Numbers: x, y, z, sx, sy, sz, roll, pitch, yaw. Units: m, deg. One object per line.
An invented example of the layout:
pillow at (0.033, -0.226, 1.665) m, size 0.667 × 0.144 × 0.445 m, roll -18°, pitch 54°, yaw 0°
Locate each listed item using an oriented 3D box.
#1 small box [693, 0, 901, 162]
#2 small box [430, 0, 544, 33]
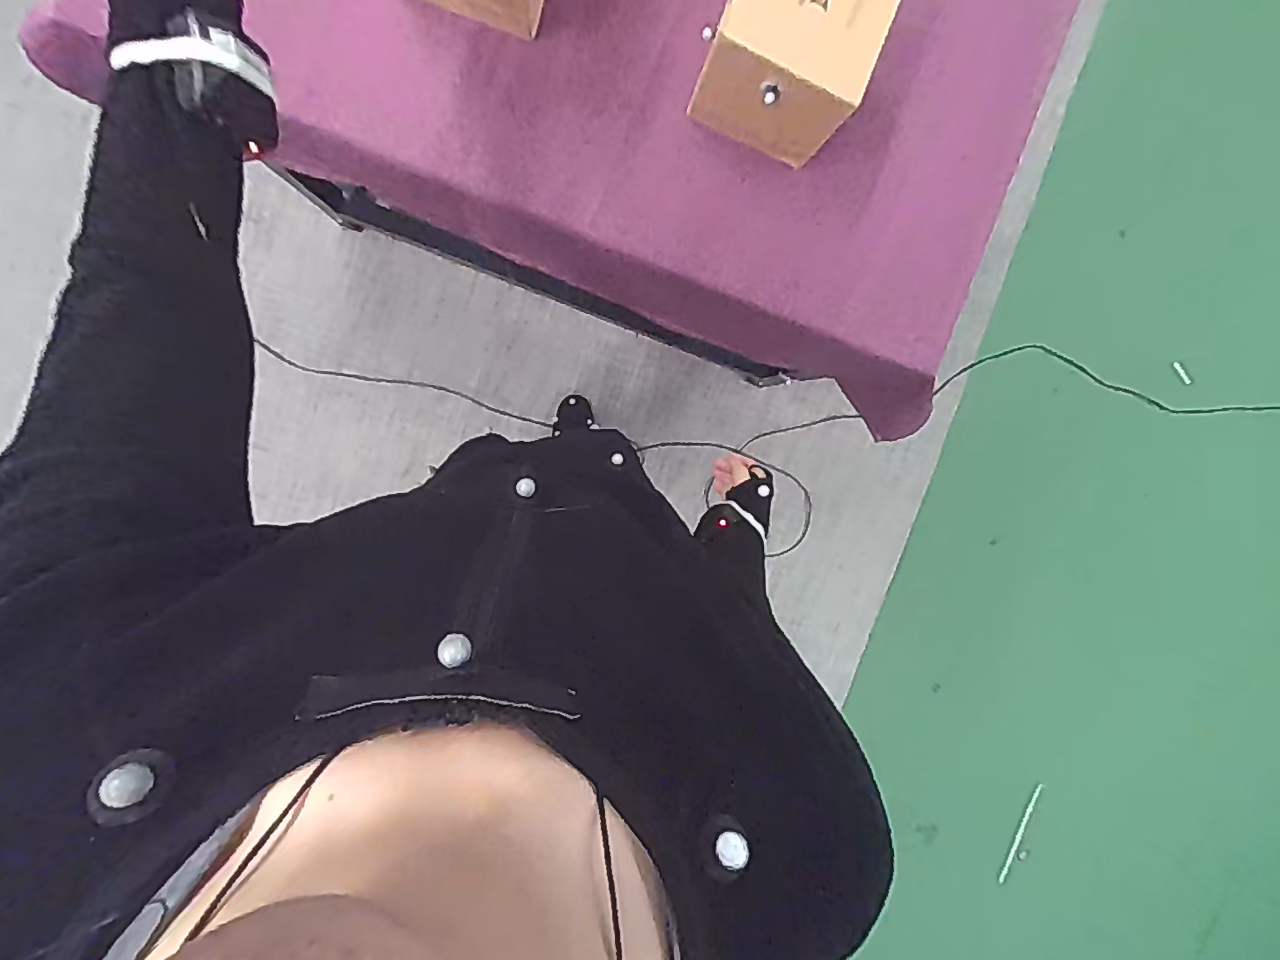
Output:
small box at (0.182, -0.529, 0.660) m, size 0.179 × 0.176 × 0.168 m, roll 21°, pitch 94°, yaw -10°
small box at (-0.188, -0.655, 0.599) m, size 0.179 × 0.176 × 0.168 m, roll 14°, pitch 95°, yaw -10°
